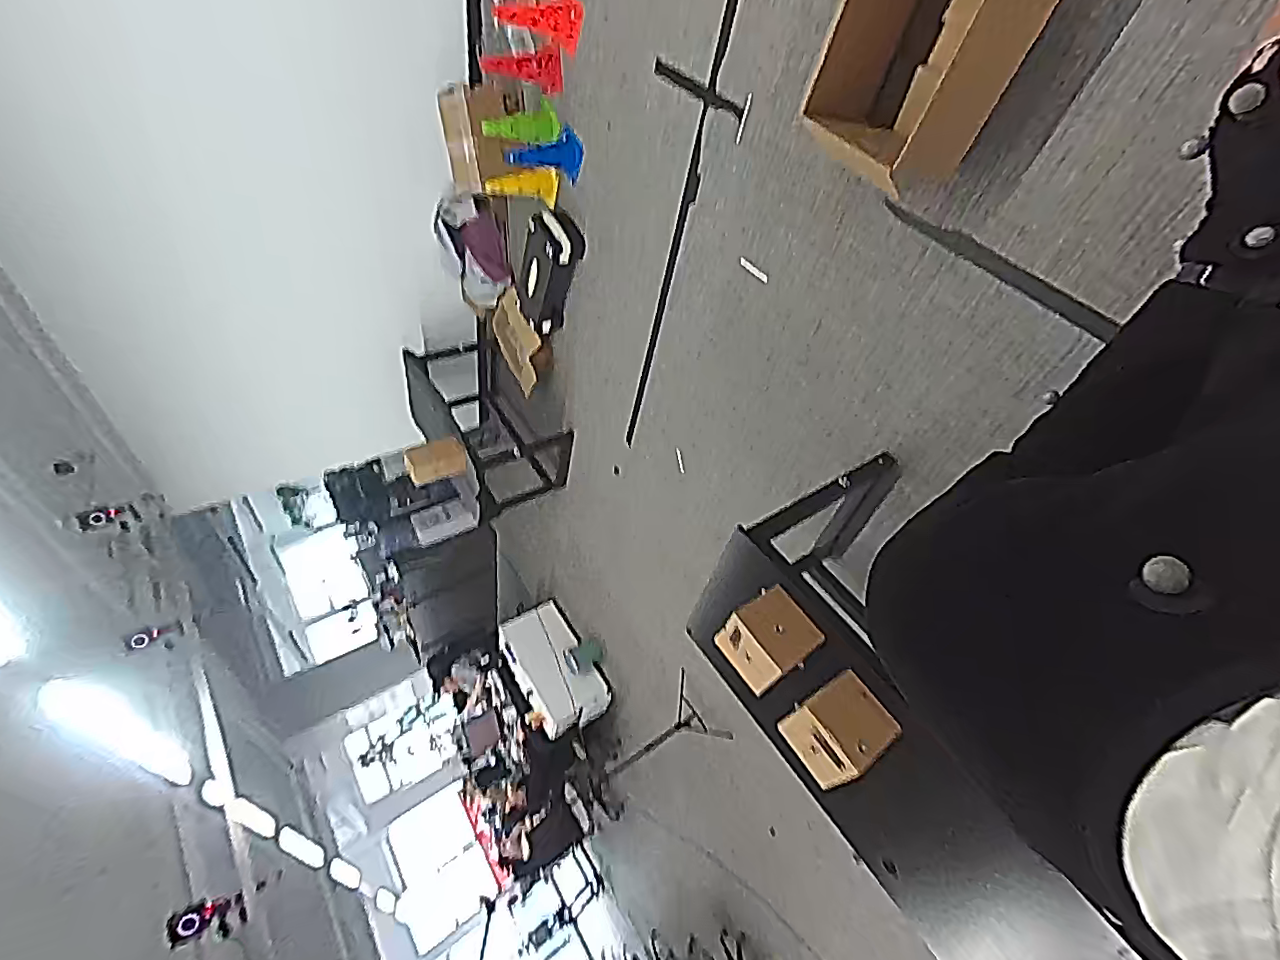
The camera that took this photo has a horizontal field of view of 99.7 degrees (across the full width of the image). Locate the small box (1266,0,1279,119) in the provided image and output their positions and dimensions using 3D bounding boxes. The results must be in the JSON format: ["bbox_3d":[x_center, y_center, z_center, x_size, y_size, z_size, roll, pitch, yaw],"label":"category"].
[{"bbox_3d":[0.527,-0.357,0.328,0.168,0.176,0.179,-1,101,38],"label":"small box"}]

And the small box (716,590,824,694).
[{"bbox_3d":[0.332,0.407,1.390,0.179,0.176,0.168,50,146,25],"label":"small box"}]
